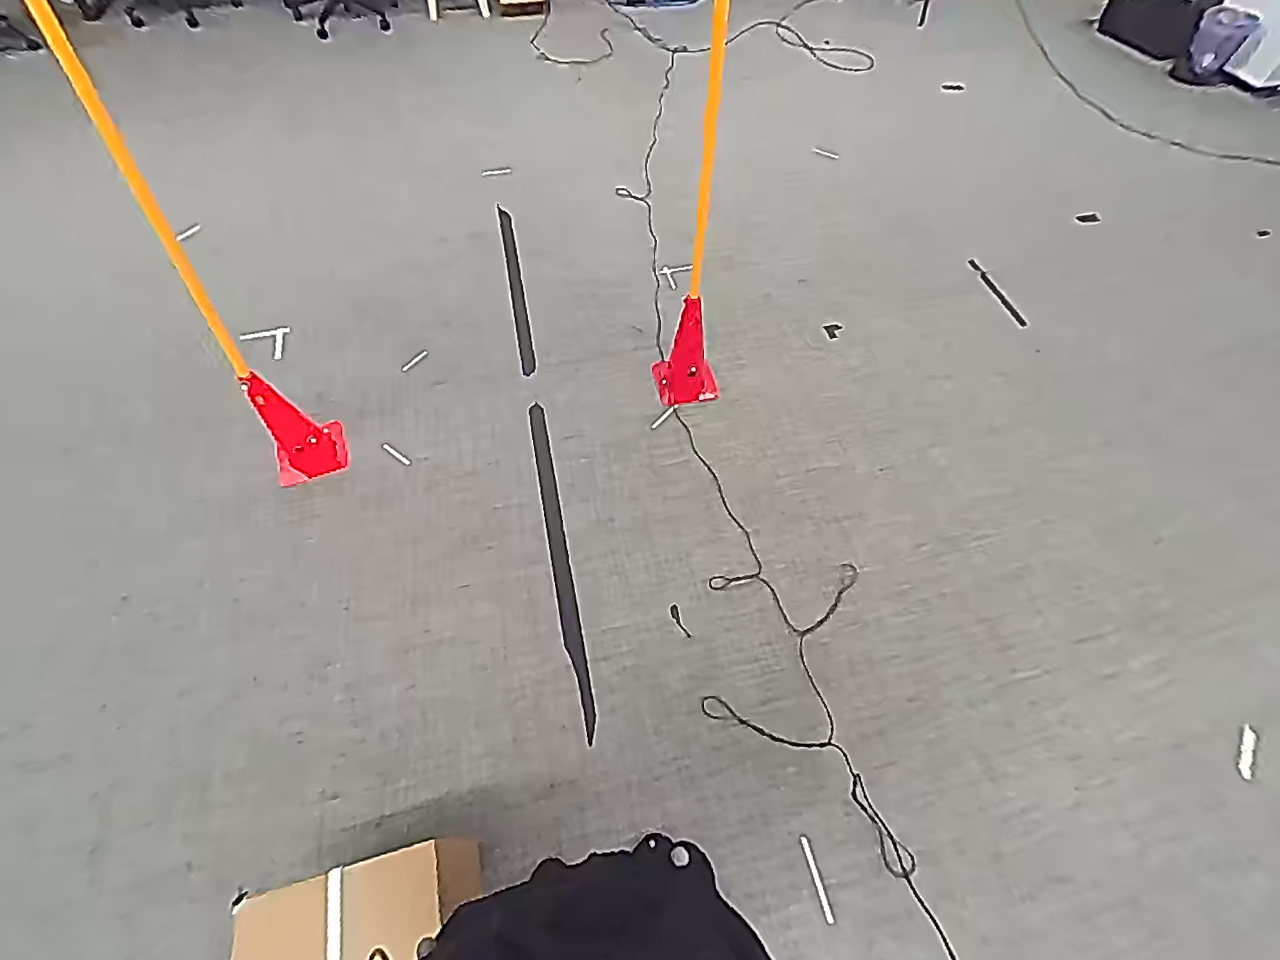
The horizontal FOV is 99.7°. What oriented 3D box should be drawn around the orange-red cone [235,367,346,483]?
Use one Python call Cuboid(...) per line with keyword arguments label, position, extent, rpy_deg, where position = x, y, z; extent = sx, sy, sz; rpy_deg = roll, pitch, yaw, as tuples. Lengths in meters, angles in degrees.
Cuboid(label="orange-red cone", position=(-1.014, -0.179, 1.523), extent=(0.199, 0.360, 0.198), rpy_deg=(-20, 60, -11))
